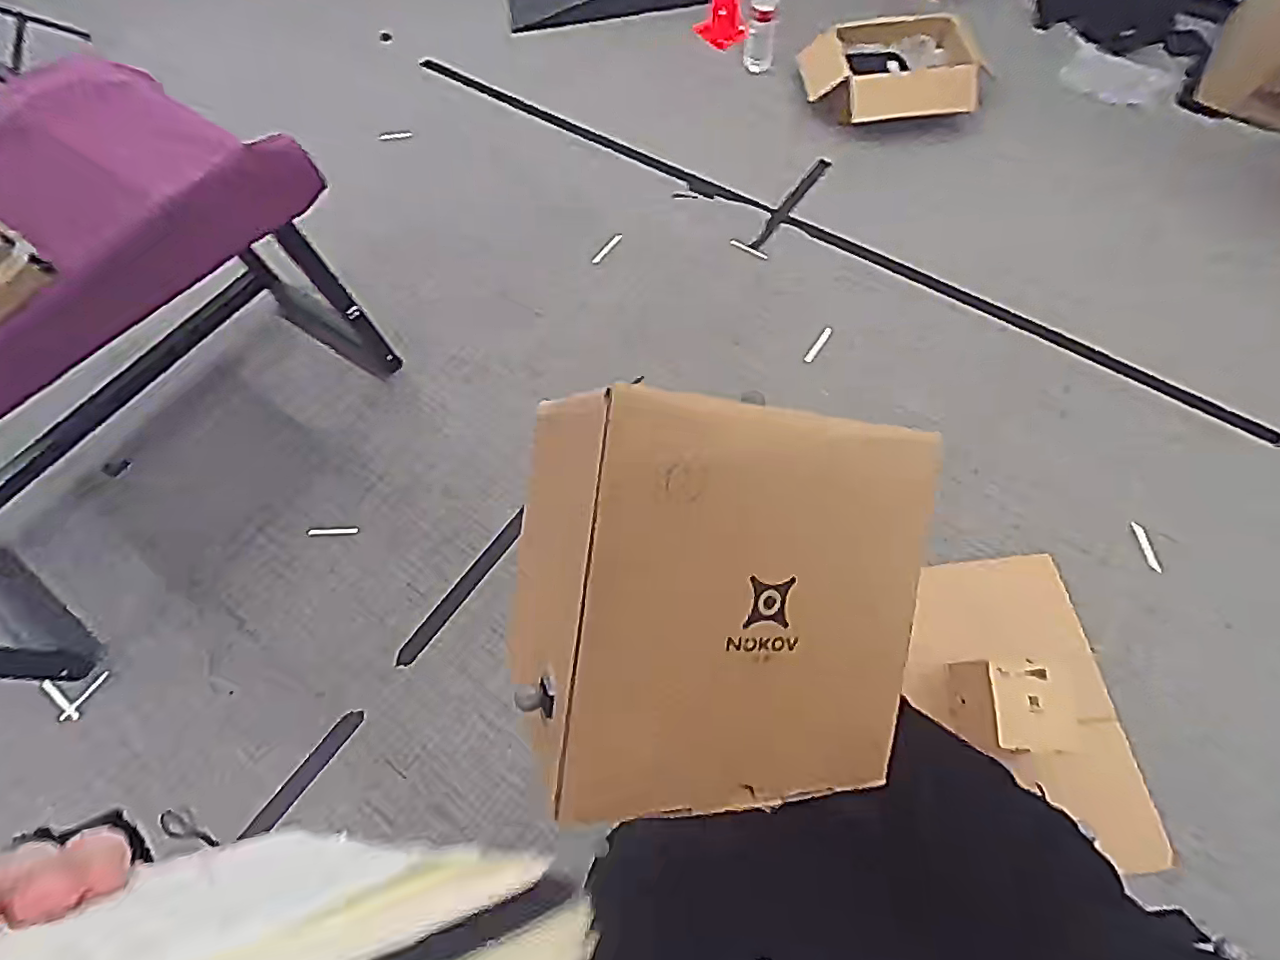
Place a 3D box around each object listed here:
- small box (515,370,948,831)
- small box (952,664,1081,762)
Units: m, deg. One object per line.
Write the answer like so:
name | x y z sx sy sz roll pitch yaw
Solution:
small box | 0.029 0.045 0.300 0.168 0.176 0.179 5 95 -20
small box | 0.820 0.507 1.196 0.168 0.176 0.179 4 70 4
